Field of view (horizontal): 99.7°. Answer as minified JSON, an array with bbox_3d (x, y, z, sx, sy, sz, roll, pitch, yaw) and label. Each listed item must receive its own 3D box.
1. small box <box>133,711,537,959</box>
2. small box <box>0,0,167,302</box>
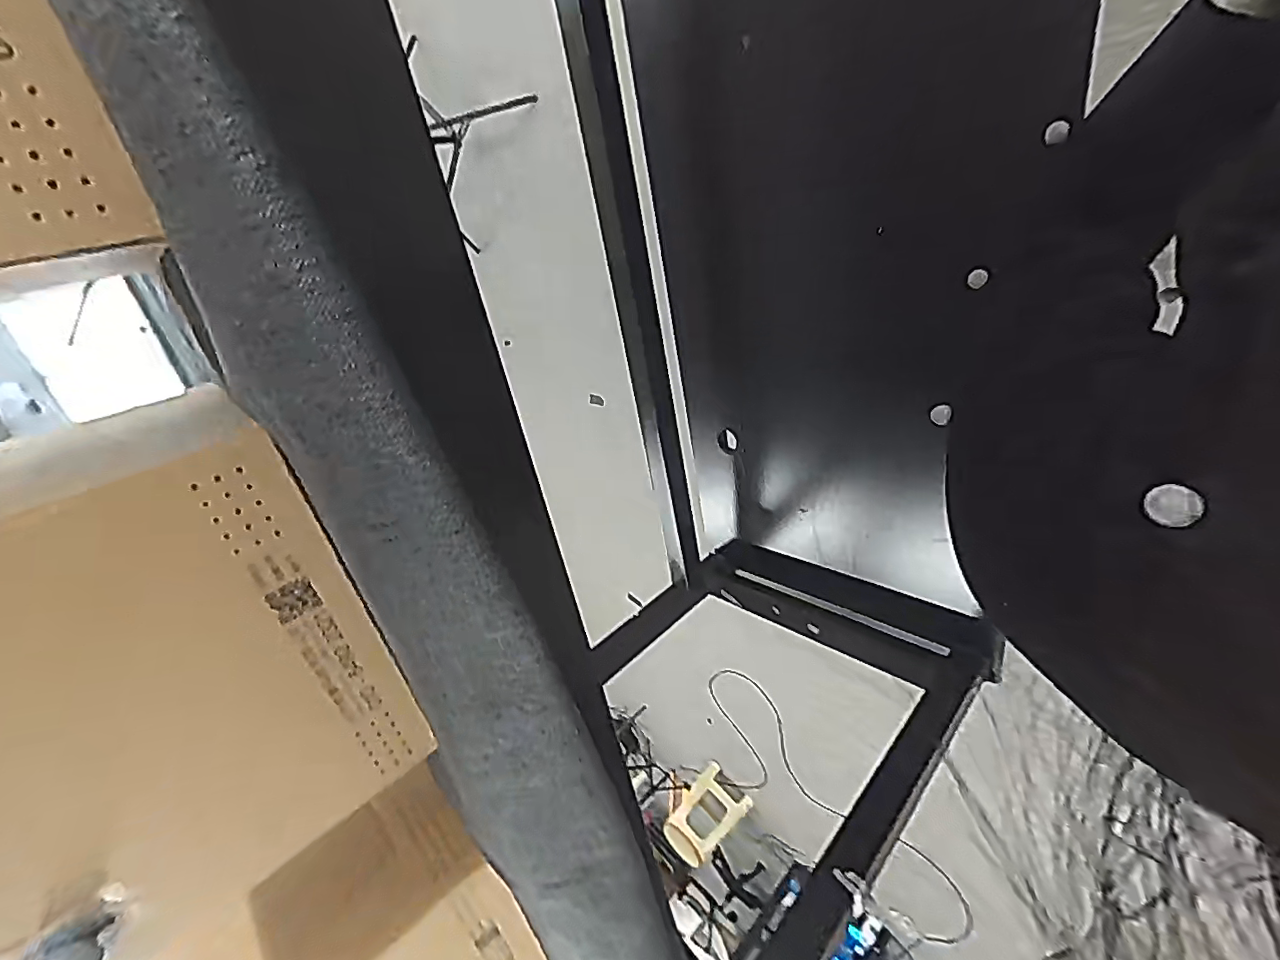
[{"bbox_3d":[-0.184,0.296,0.360,0.179,0.176,0.168,21,131,45],"label":"small box"},{"bbox_3d":[-0.262,-0.122,0.135,0.179,0.176,0.168,19,130,45],"label":"small box"}]
